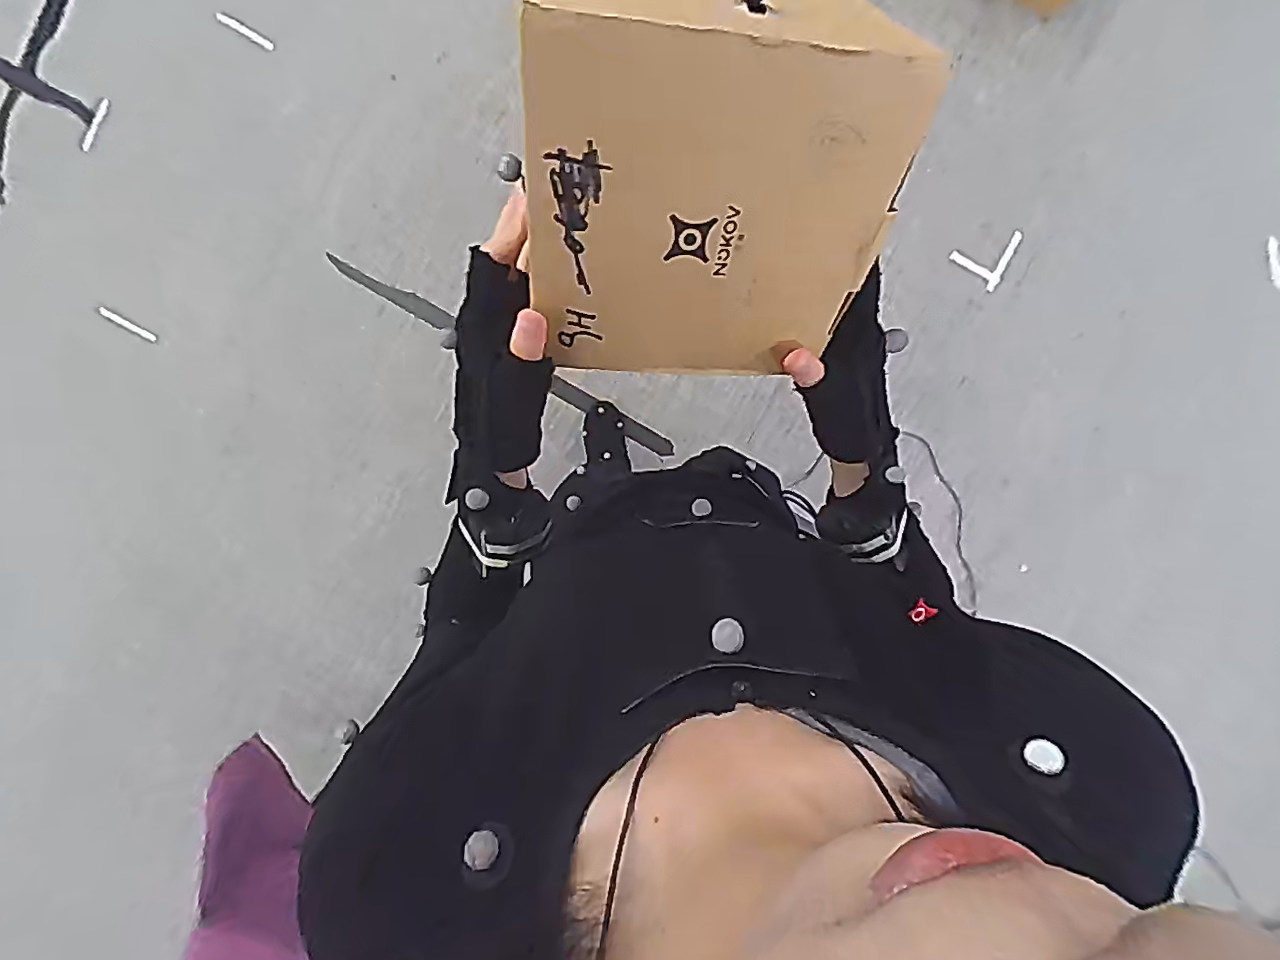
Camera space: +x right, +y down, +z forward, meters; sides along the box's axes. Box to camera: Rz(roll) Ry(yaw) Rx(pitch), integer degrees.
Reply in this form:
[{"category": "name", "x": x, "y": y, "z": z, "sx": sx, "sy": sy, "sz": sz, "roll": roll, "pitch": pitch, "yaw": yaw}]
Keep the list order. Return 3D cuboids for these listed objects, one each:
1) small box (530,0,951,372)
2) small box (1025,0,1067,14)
[{"category": "small box", "x": 0.026, "y": -0.184, "z": 0.318, "sx": 0.179, "sy": 0.168, "sz": 0.176, "roll": 1, "pitch": 51, "yaw": -9}, {"category": "small box", "x": 1.056, "y": -1.328, "z": 1.345, "sx": 0.179, "sy": 0.176, "sz": 0.168, "roll": 27, "pitch": 96, "yaw": -5}]
